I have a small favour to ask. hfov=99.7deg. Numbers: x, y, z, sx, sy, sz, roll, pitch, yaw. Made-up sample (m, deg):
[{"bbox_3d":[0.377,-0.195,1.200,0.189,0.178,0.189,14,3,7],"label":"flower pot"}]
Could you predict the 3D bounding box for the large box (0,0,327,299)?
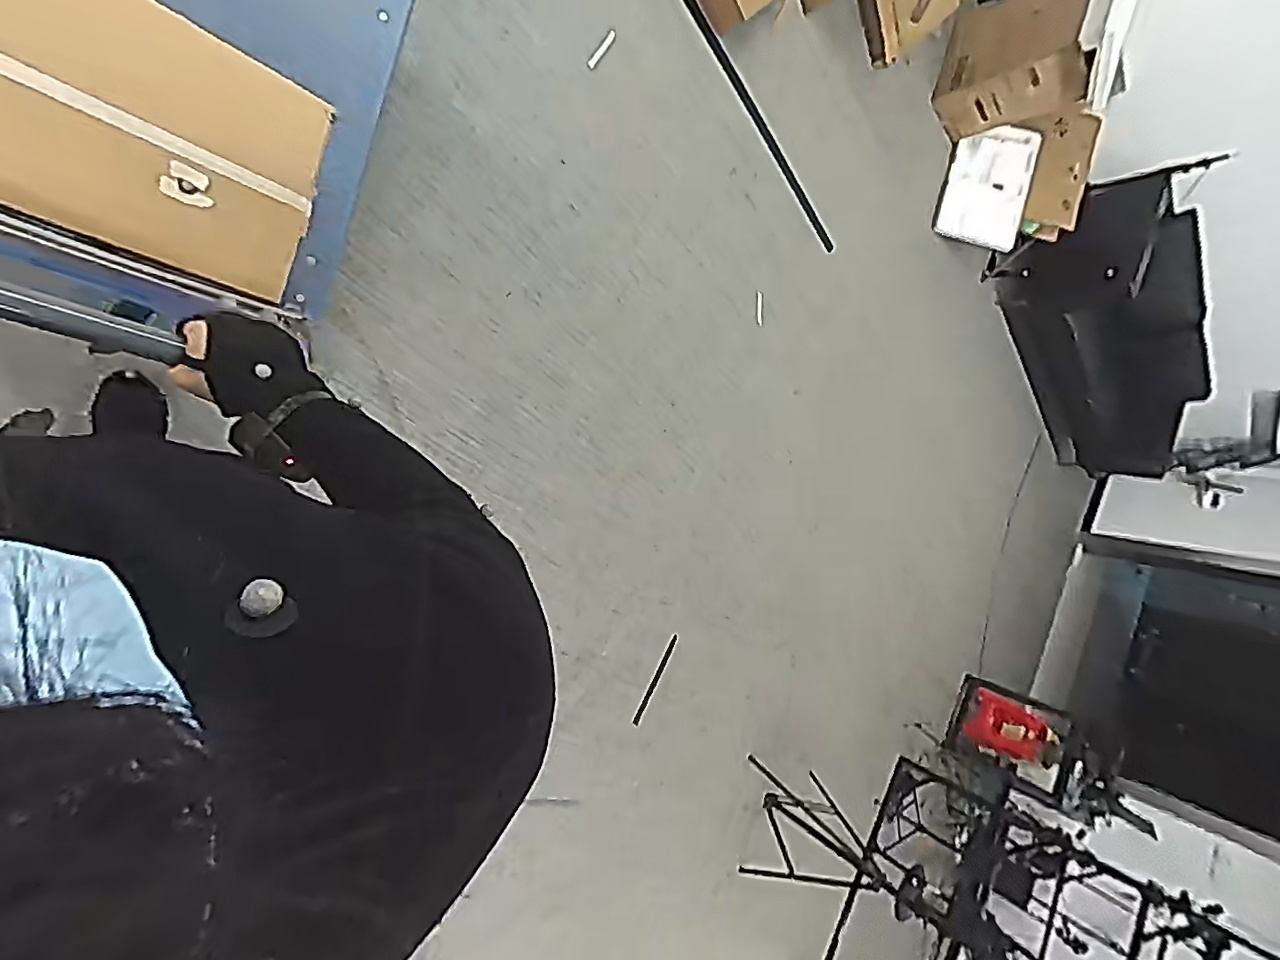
[{"bbox_3d":[-0.764,-0.503,0.827,0.408,0.320,0.320,15,95,-40],"label":"large box"}]
